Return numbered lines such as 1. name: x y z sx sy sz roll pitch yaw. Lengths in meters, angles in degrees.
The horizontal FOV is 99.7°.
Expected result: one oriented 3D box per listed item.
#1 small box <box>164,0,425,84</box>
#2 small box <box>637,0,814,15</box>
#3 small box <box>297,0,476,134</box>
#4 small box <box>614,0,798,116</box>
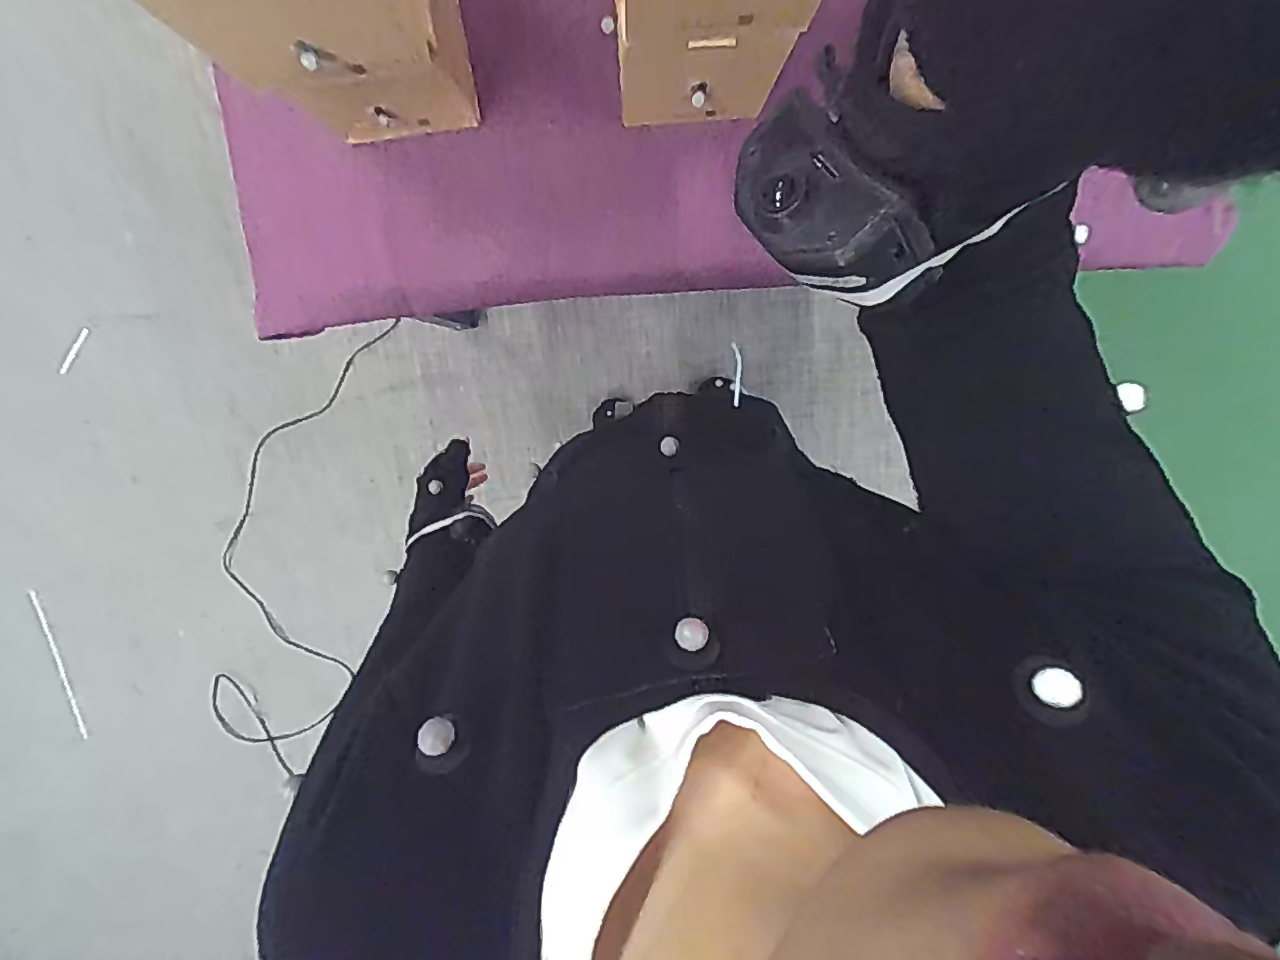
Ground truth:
1. small box: -0.277 -0.431 0.391 0.168 0.176 0.179 -6 102 0
2. small box: 0.067 -0.467 0.376 0.168 0.176 0.179 -4 101 0
3. small box: -0.281 -0.489 0.547 0.168 0.176 0.179 -8 102 0
4. small box: 0.056 -0.504 0.554 0.168 0.176 0.179 -6 101 1
